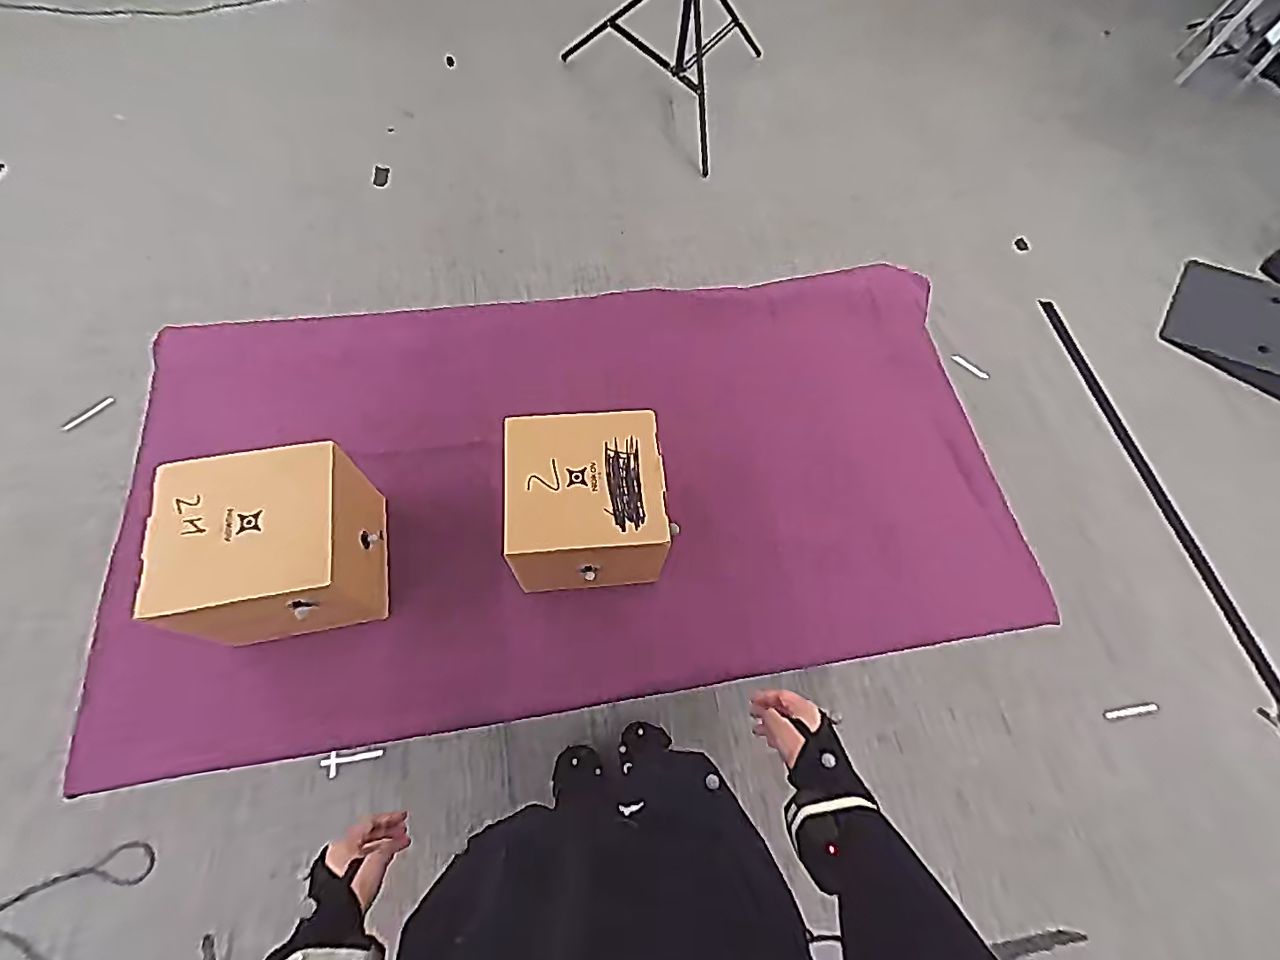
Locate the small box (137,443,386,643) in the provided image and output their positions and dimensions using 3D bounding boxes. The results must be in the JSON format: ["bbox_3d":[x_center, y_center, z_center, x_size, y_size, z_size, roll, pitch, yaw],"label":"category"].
[{"bbox_3d":[-0.403,0.078,0.617,0.179,0.176,0.168,-9,65,-9],"label":"small box"}]
